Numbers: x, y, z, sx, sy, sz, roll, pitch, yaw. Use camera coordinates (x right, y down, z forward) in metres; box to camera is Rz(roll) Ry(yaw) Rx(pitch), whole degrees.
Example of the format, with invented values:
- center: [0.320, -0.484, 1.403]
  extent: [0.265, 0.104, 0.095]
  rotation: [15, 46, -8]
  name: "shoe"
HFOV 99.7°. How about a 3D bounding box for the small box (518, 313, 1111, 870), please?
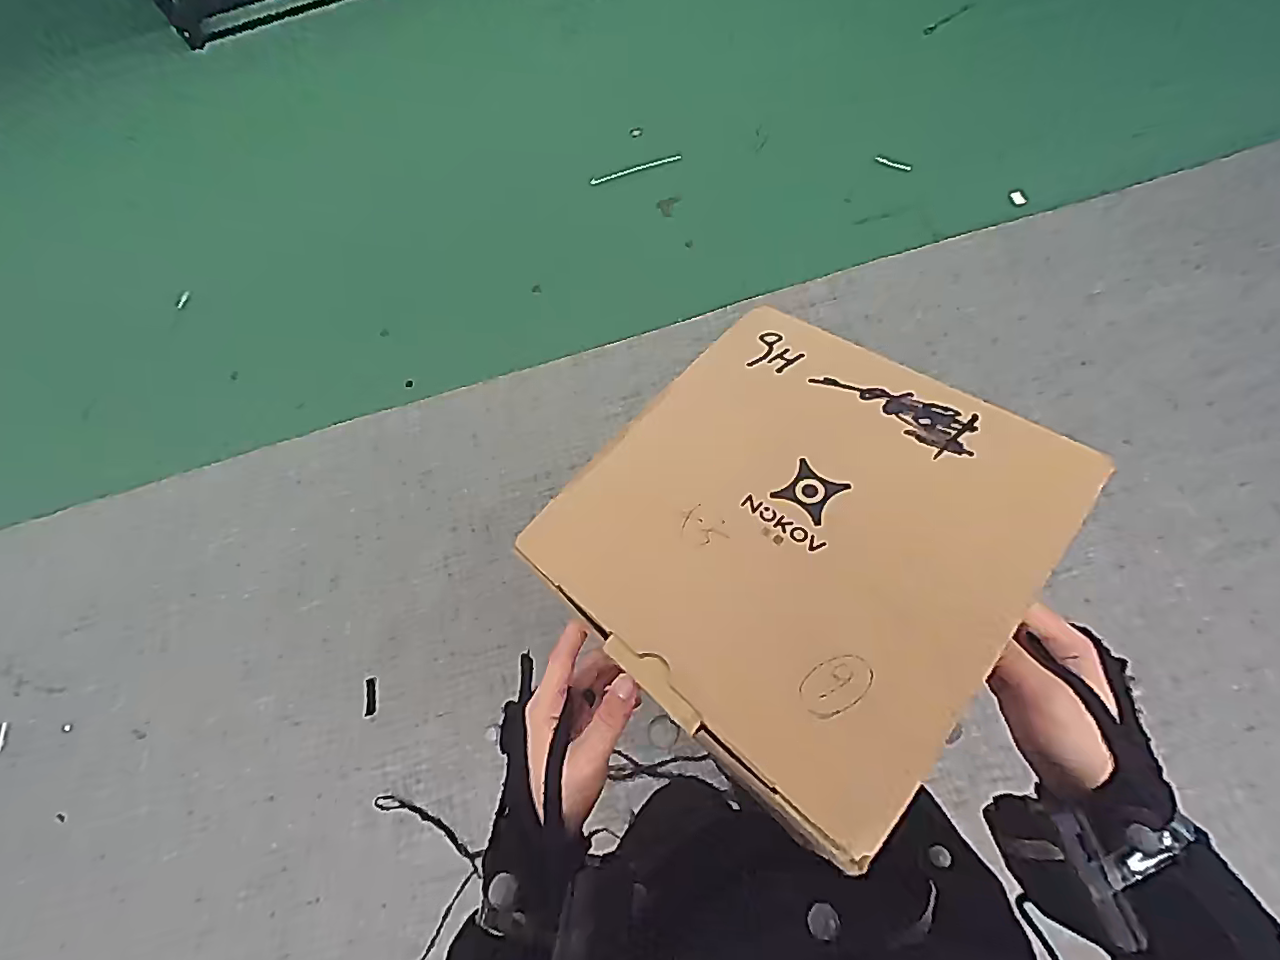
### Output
- center: [0.076, 0.056, 0.282]
  extent: [0.168, 0.176, 0.179]
  rotation: [36, 72, 28]
  name: "small box"
